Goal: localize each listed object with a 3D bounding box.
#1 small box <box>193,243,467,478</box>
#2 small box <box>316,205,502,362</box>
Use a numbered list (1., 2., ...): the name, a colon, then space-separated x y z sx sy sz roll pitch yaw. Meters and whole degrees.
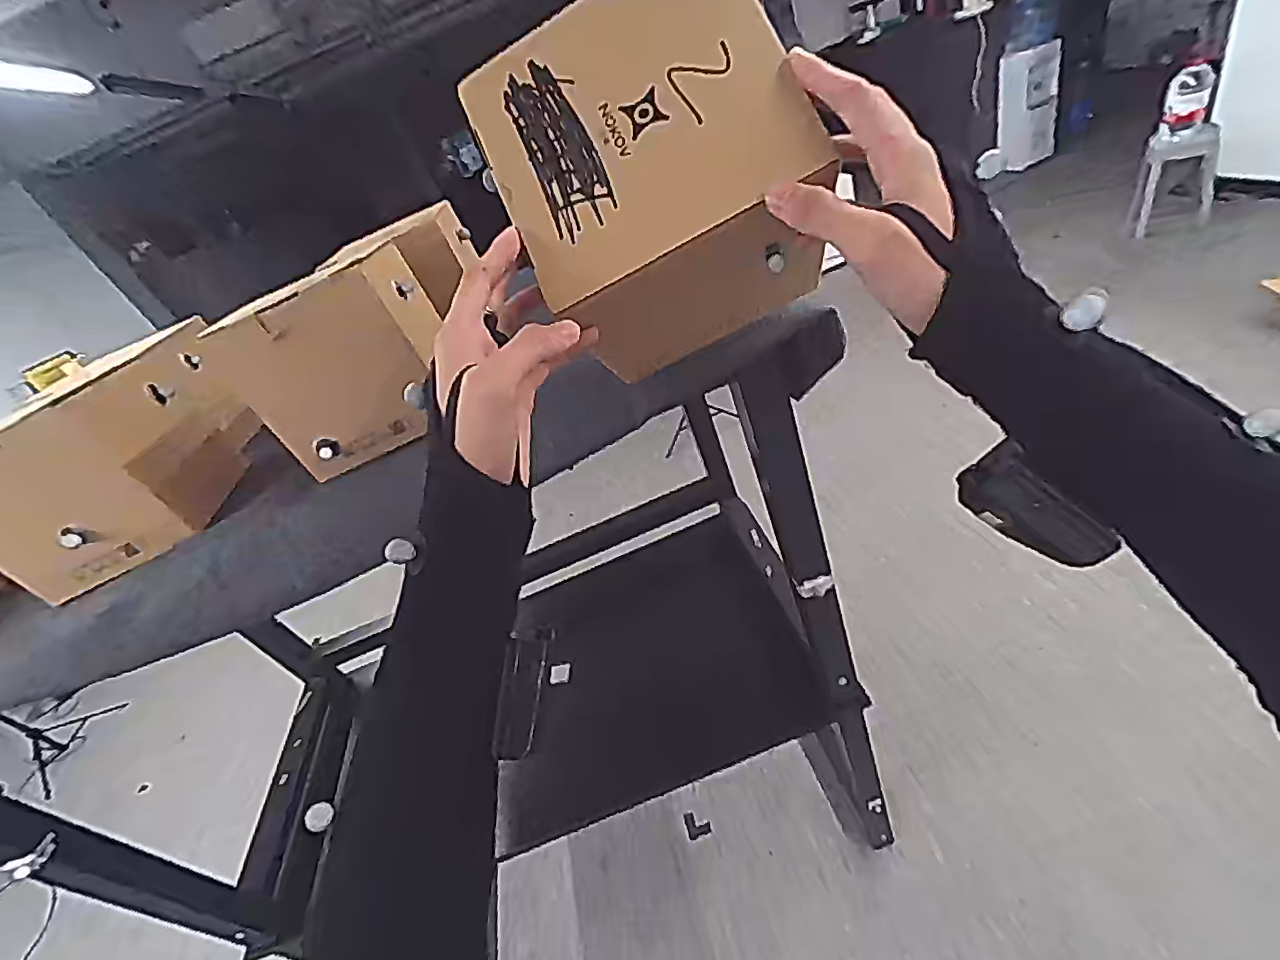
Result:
1. small box: -0.303 -0.124 0.578 0.168 0.176 0.179 -25 33 1
2. small box: -0.307 -0.260 0.763 0.168 0.176 0.179 -24 36 2
